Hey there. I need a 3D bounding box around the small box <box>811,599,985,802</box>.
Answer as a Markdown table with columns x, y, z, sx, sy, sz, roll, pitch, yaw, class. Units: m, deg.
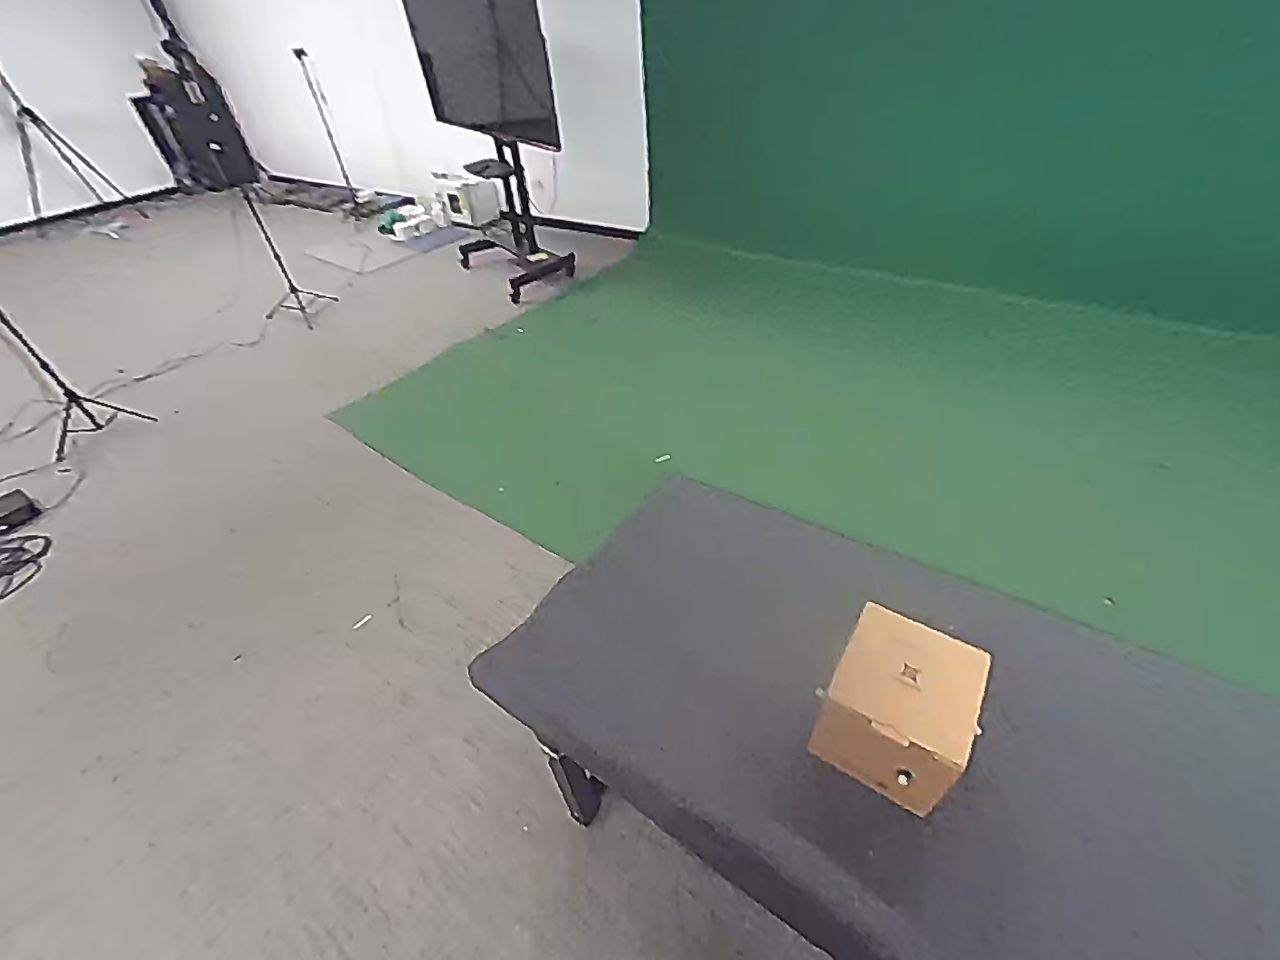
| x | y | z | sx | sy | sz | roll | pitch | yaw | class |
| --- | --- | --- | --- | --- | --- | --- | --- | --- | --- |
| 0.355 | 0.312 | 0.767 | 0.168 | 0.176 | 0.179 | 23 | 48 | 26 | small box |
